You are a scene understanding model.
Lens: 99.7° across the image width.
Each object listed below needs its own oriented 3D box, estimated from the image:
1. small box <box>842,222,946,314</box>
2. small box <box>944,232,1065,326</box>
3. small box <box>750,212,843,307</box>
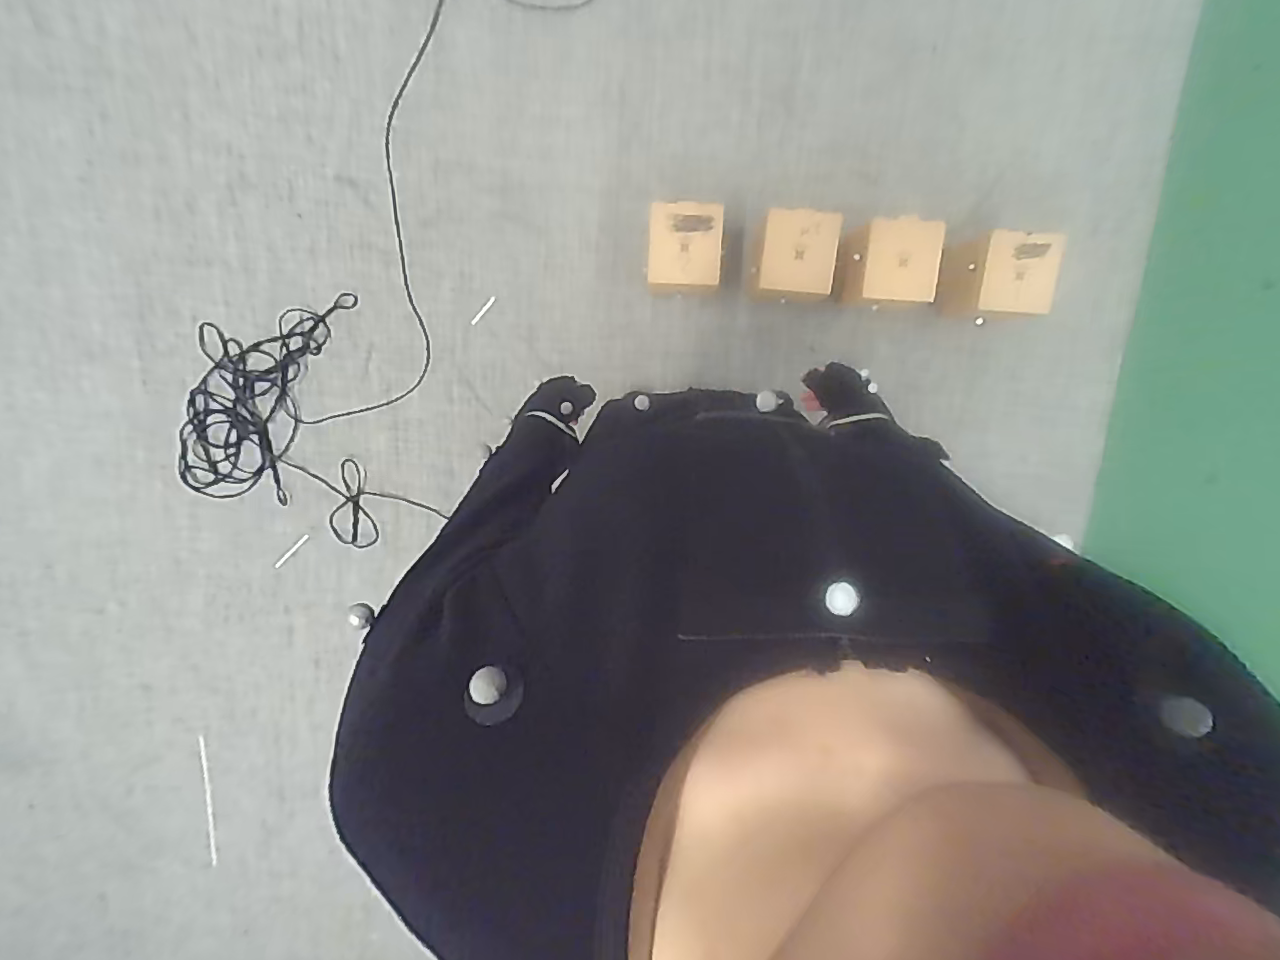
[{"bbox_3d":[0.596,-0.499,1.293,0.168,0.176,0.179,3,100,0],"label":"small box"},{"bbox_3d":[0.858,-0.473,1.291,0.168,0.176,0.179,4,101,1],"label":"small box"},{"bbox_3d":[0.365,-0.517,1.293,0.168,0.176,0.179,5,100,0],"label":"small box"}]
